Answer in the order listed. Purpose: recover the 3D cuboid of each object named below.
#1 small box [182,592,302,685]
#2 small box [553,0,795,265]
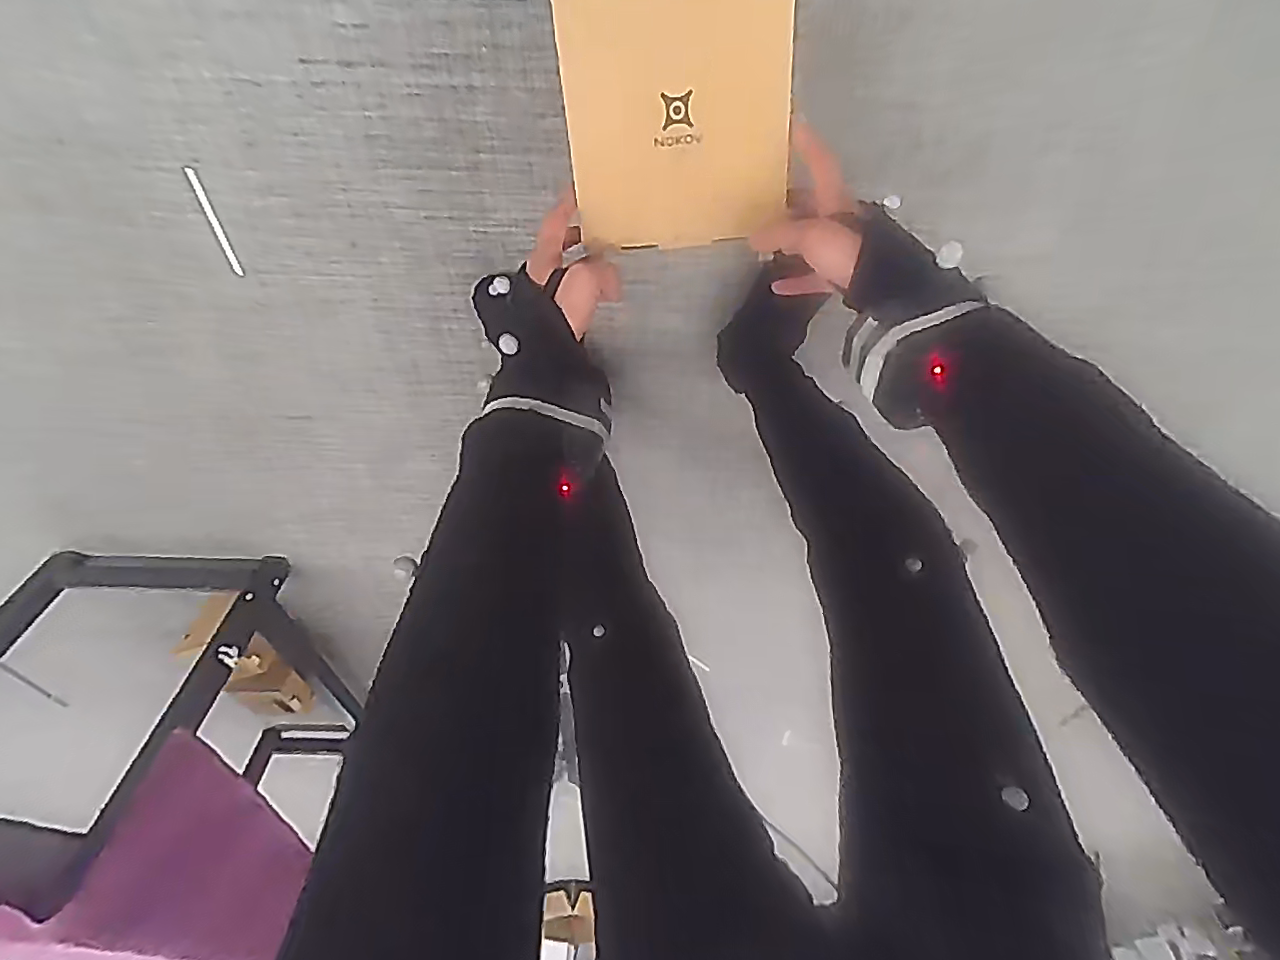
[{"bbox_3d":[-1.068,0.430,1.469,0.179,0.176,0.168,-20,131,20],"label":"small box"},{"bbox_3d":[0.031,-0.297,0.467,0.168,0.176,0.179,-3,121,6],"label":"small box"}]
